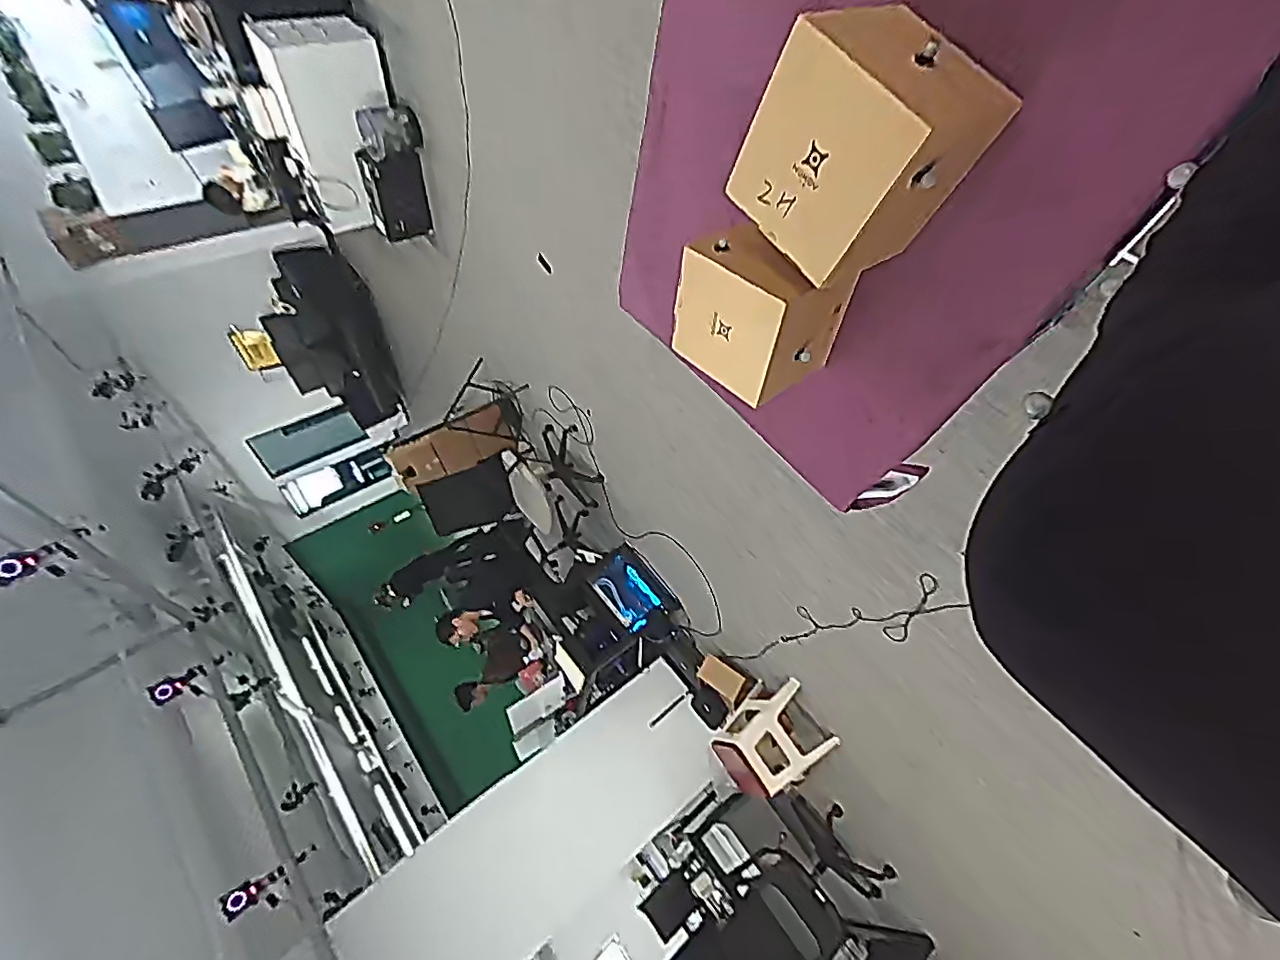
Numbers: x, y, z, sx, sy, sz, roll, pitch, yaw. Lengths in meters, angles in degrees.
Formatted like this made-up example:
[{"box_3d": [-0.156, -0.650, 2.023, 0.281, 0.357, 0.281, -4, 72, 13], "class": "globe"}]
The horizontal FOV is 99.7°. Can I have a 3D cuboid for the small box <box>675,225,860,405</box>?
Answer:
[{"box_3d": [0.174, -0.242, 0.761, 0.179, 0.176, 0.168, 42, 149, 29], "class": "small box"}]

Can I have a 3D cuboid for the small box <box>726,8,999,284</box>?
[{"box_3d": [0.227, -0.345, 0.560, 0.168, 0.176, 0.179, 53, 153, 15], "class": "small box"}]
